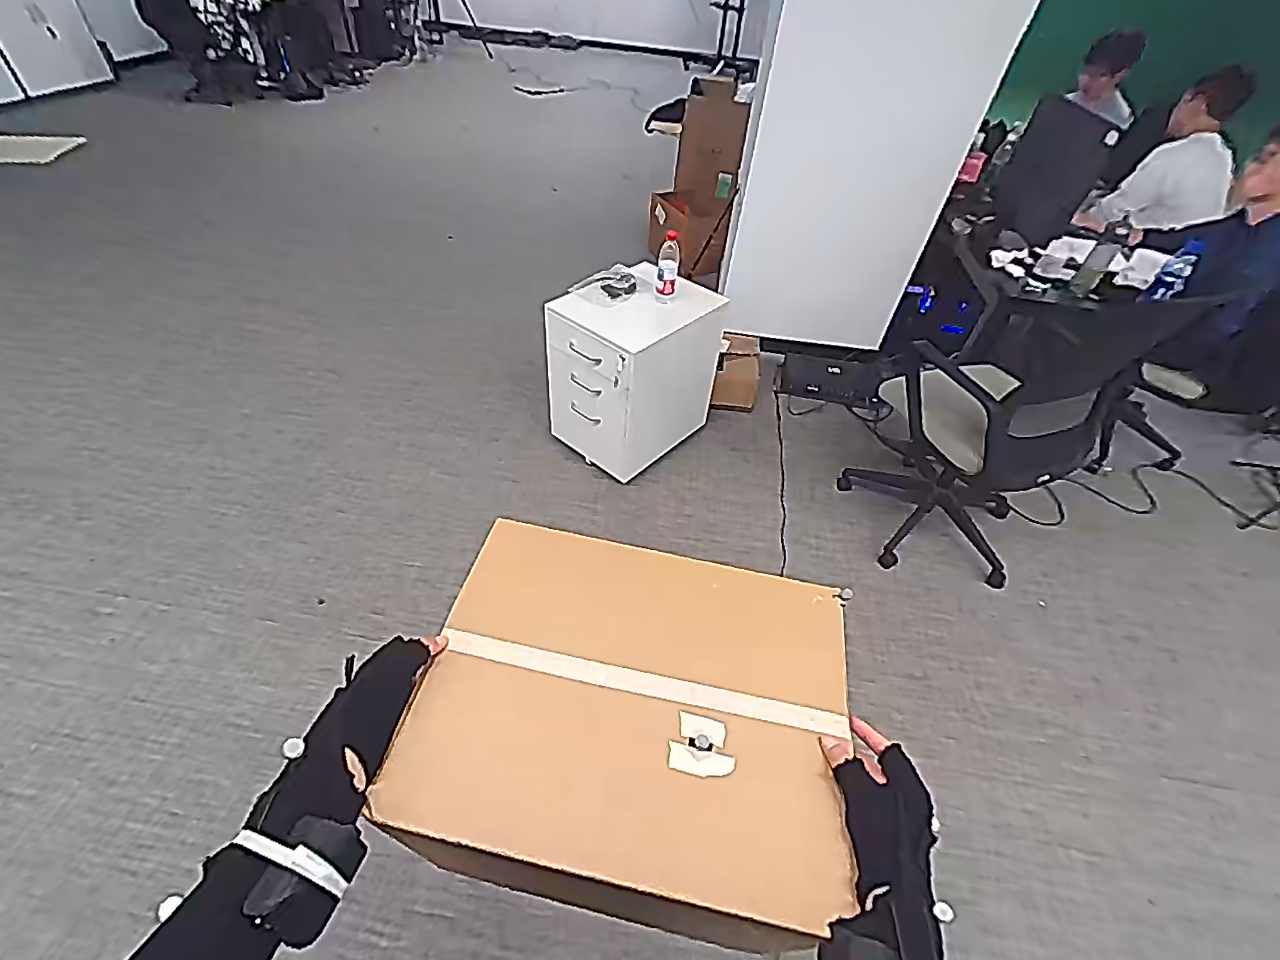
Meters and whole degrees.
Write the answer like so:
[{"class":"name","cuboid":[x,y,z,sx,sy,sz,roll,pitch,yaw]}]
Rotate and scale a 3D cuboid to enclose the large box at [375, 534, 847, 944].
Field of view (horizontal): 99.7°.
[{"class":"large box","cuboid":[-0.016,0.308,0.647,0.408,0.320,0.320,12,49,4]}]
